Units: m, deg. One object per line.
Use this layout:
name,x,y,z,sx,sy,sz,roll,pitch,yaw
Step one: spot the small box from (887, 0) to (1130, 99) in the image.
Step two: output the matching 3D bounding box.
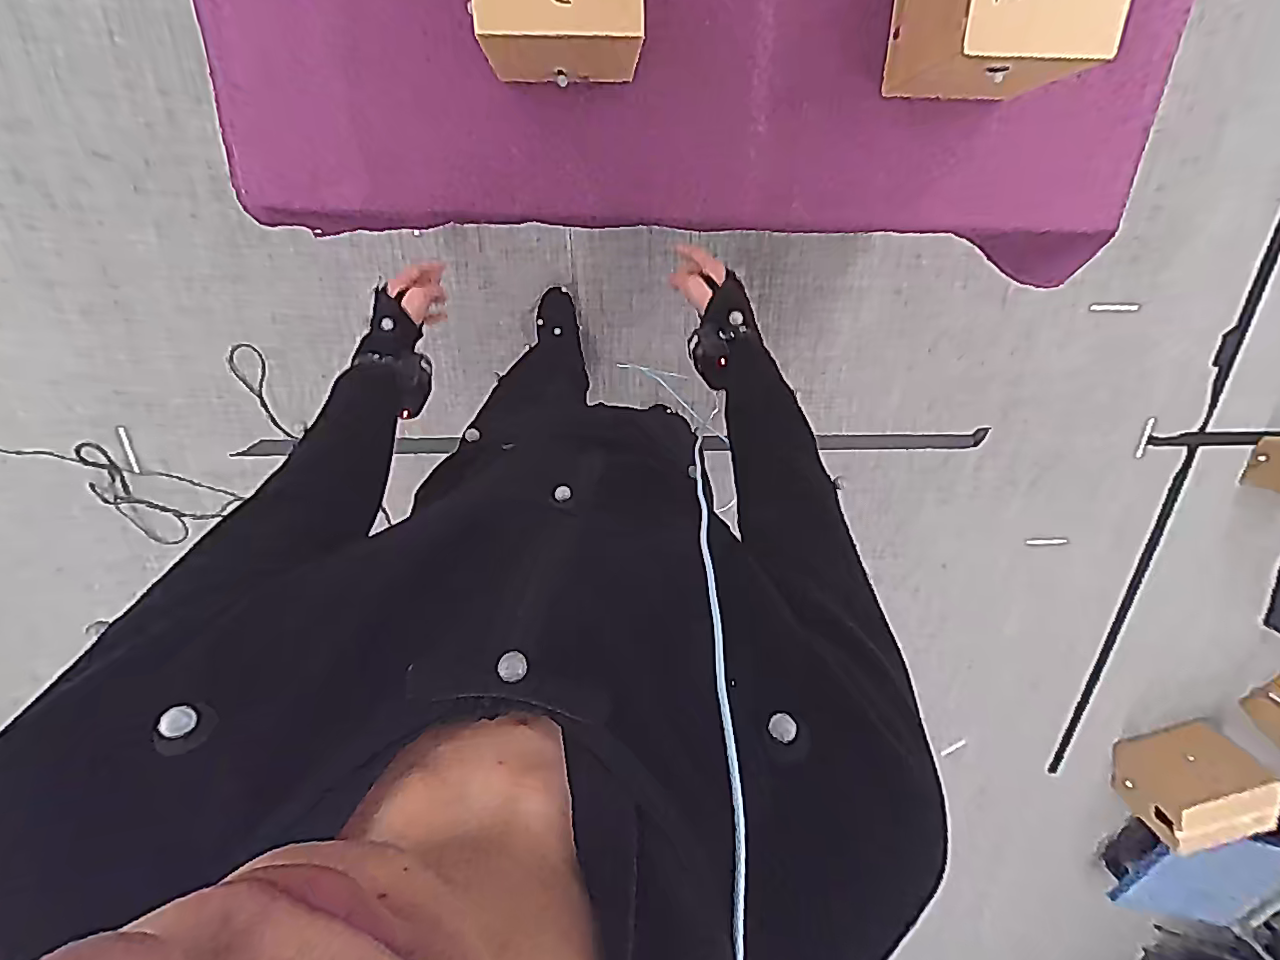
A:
small box,0.407,-0.546,0.607,0.179,0.176,0.168,-2,113,-5
